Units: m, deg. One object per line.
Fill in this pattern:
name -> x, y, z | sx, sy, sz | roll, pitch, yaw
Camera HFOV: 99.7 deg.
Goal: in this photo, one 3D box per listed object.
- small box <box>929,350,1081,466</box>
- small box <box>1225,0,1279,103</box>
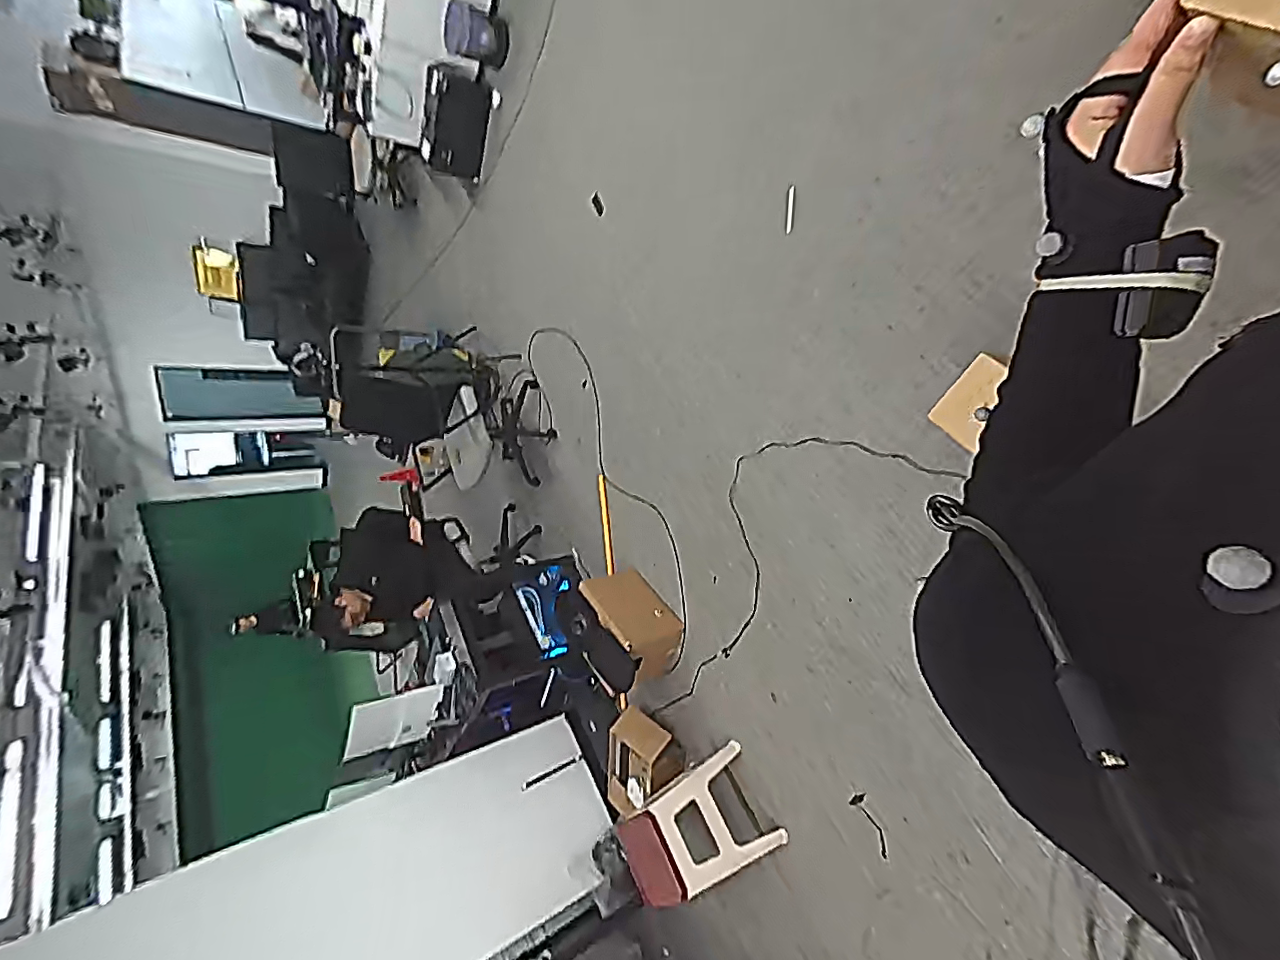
small box -> 0.757, -0.151, 1.122 | 0.179, 0.176, 0.168 | 54, 133, 33
small box -> 0.446, -0.292, 0.263 | 0.168, 0.176, 0.179 | 54, 134, 28
